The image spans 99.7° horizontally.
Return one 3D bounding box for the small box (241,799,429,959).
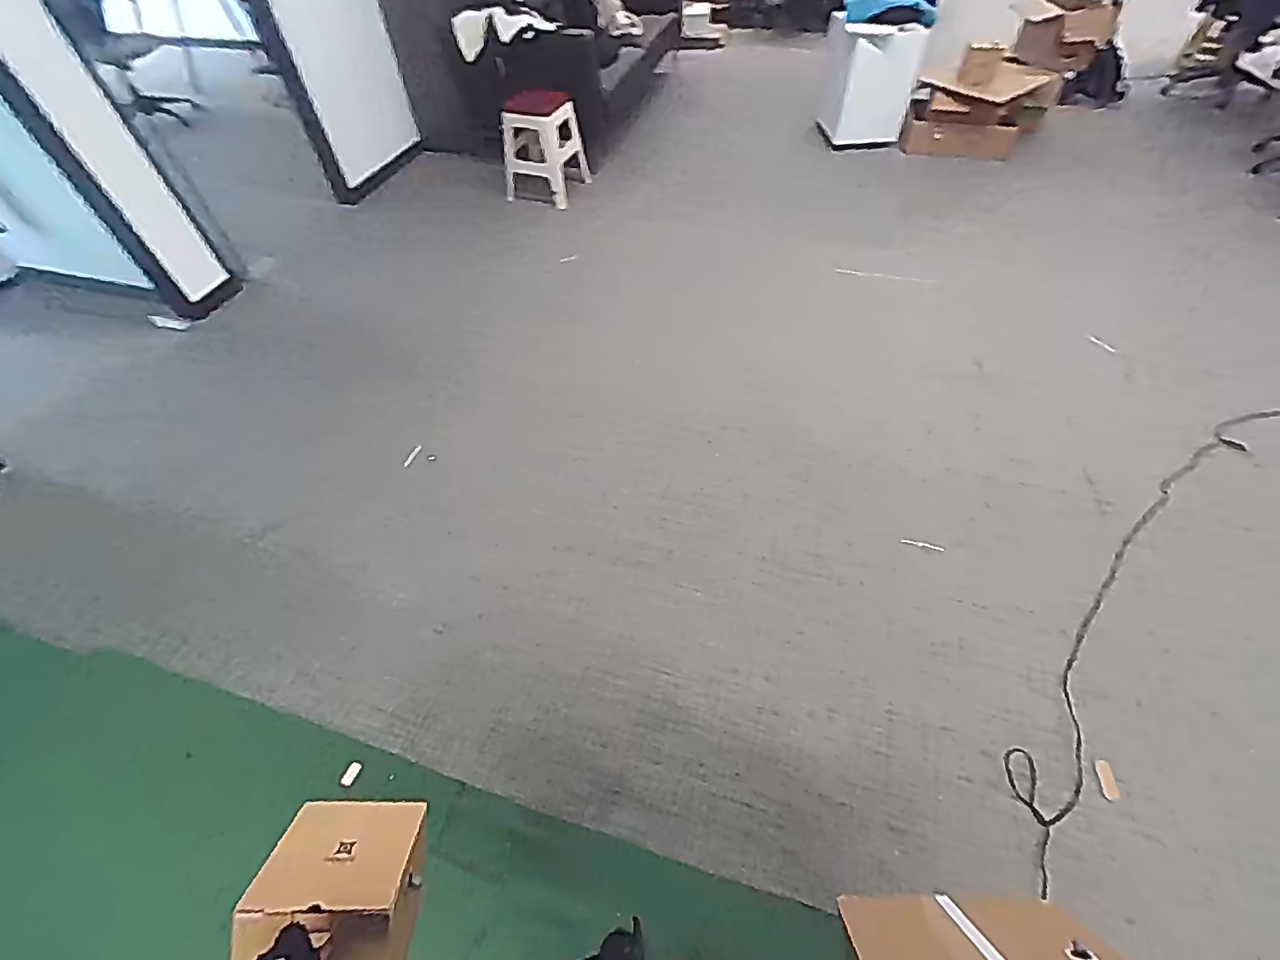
[{"bbox_3d":[-0.387,0.552,0.699,0.168,0.176,0.179,6,6,-8],"label":"small box"}]
